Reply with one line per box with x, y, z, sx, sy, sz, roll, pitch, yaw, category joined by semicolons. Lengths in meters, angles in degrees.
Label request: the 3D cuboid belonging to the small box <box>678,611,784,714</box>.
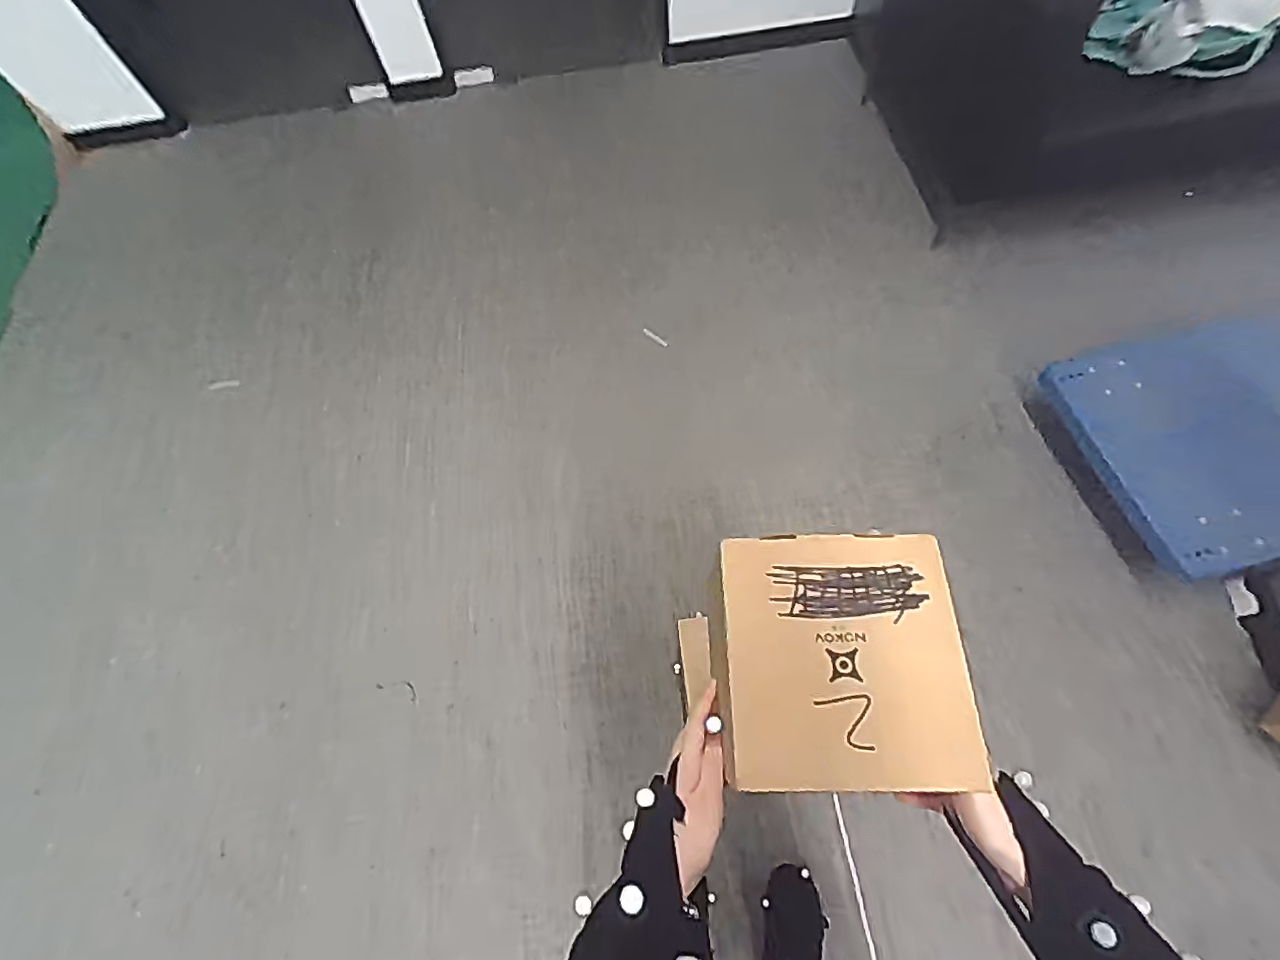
0.170;0.363;1.063;0.179;0.176;0.168;-6;65;1;small box
